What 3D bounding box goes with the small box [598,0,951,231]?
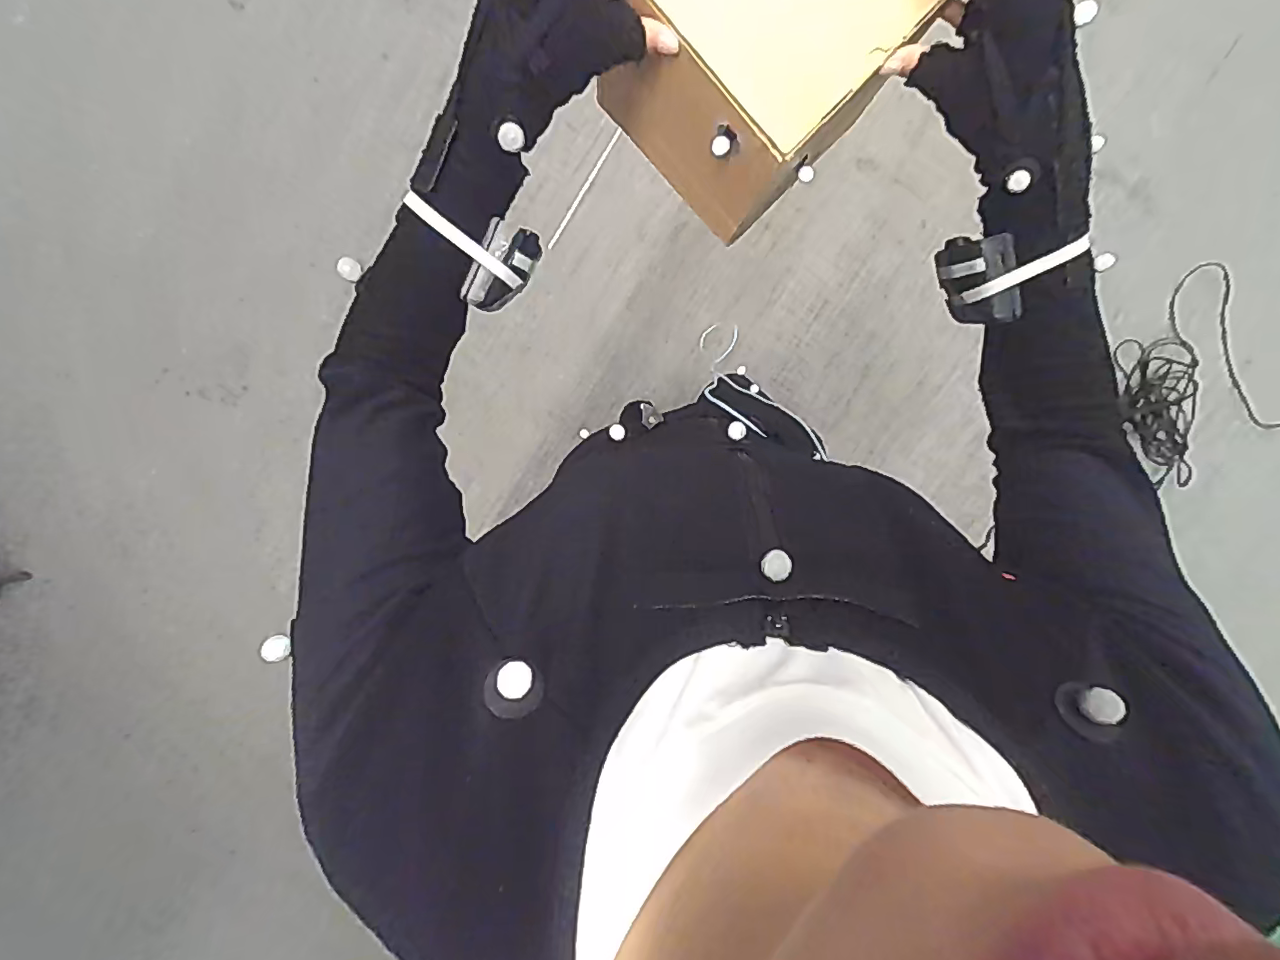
[{"bbox_3d":[0.081,-0.332,0.414,0.168,0.176,0.179,-43,99,0],"label":"small box"}]
